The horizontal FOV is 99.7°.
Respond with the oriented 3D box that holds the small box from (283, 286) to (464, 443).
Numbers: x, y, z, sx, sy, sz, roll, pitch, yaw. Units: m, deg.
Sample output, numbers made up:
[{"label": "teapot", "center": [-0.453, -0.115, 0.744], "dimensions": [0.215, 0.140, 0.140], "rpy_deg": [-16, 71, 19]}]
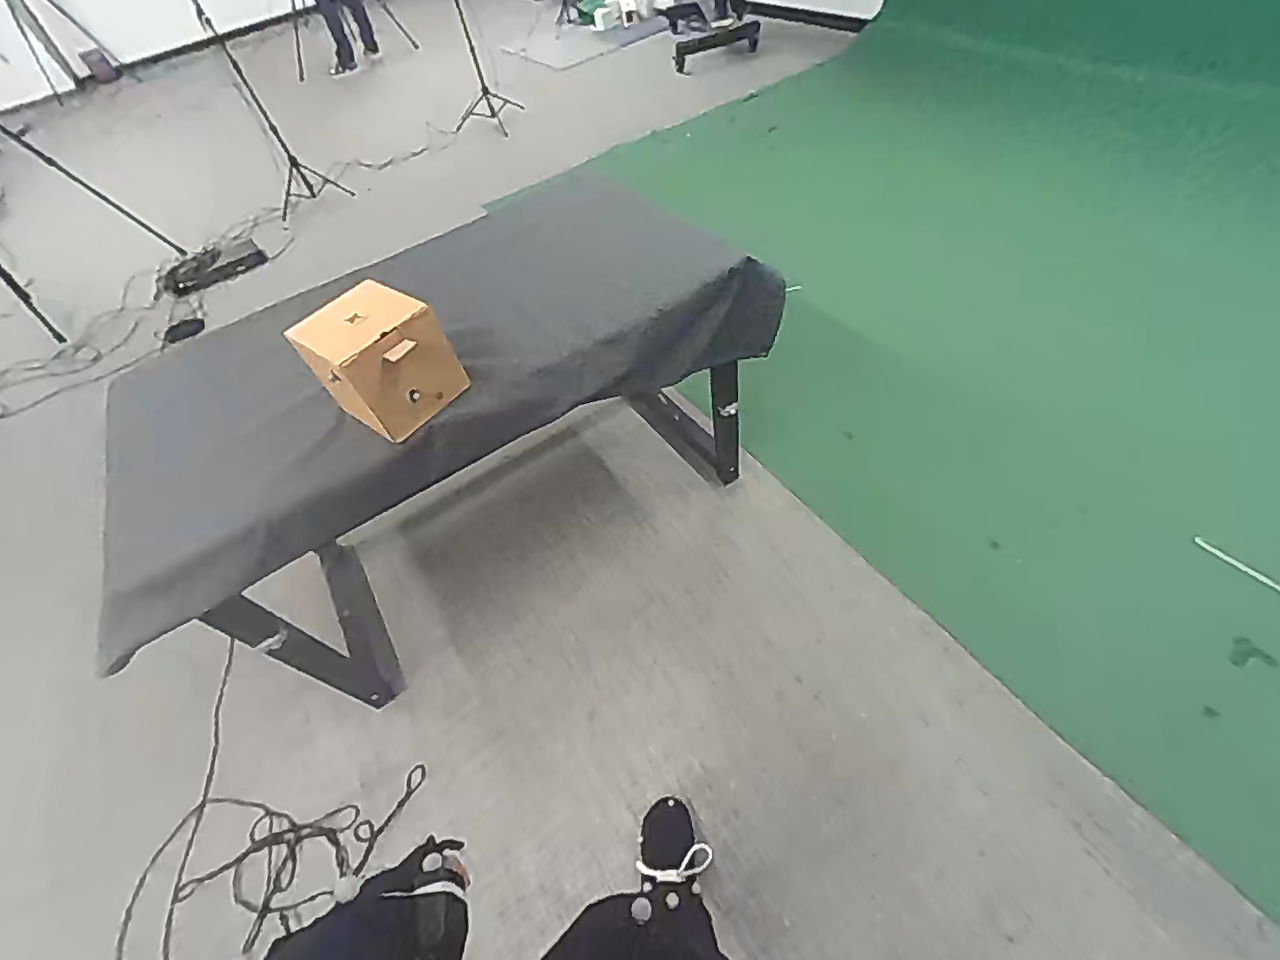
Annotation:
[{"label": "small box", "center": [-0.430, -0.188, 0.895], "dimensions": [0.179, 0.176, 0.168], "rpy_deg": [28, 62, 28]}]
